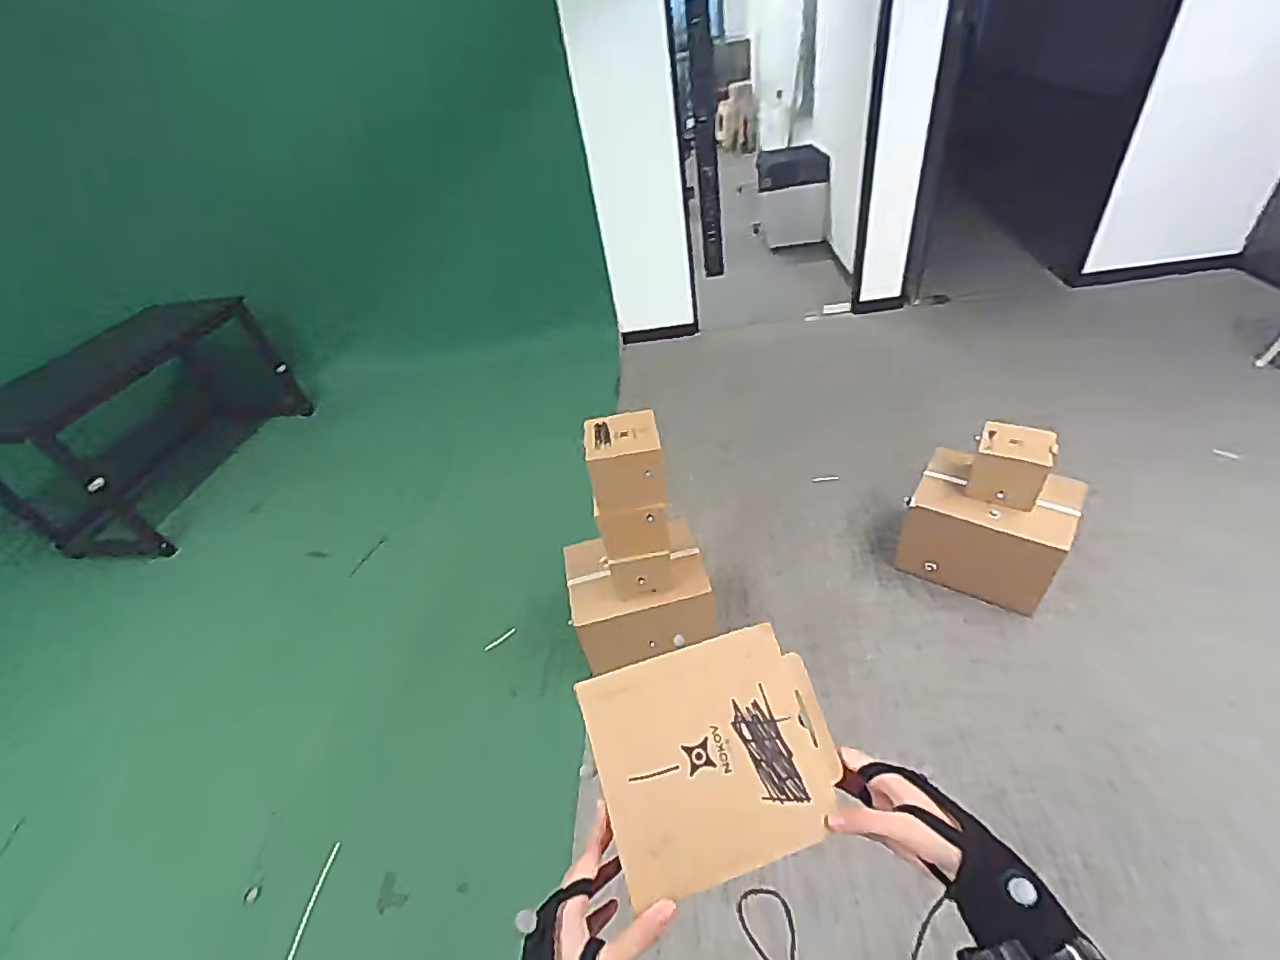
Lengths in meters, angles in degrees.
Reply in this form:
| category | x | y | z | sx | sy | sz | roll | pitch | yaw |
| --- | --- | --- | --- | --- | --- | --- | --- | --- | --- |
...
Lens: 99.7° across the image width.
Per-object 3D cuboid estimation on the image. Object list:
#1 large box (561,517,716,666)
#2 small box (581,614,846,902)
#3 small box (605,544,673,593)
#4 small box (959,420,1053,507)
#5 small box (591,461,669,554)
| category | x | y | z | sx | sy | sz | roll | pitch | yaw |
| --- | --- | --- | --- | --- | --- | --- | --- | --- | --- |
| large box | -0.002 | 0.372 | 1.701 | 0.408 | 0.320 | 0.320 | -15 | 39 | -3 |
| small box | 0.047 | 0.233 | 0.496 | 0.179 | 0.176 | 0.168 | -14 | 70 | -10 |
| small box | -0.006 | 0.202 | 1.520 | 0.168 | 0.176 | 0.179 | -10 | 41 | 0 |
| small box | 1.060 | -0.045 | 1.571 | 0.179 | 0.176 | 0.168 | 18 | 46 | 28 |
| small box | -0.026 | 0.076 | 1.420 | 0.179 | 0.176 | 0.168 | -9 | 41 | 1 |
